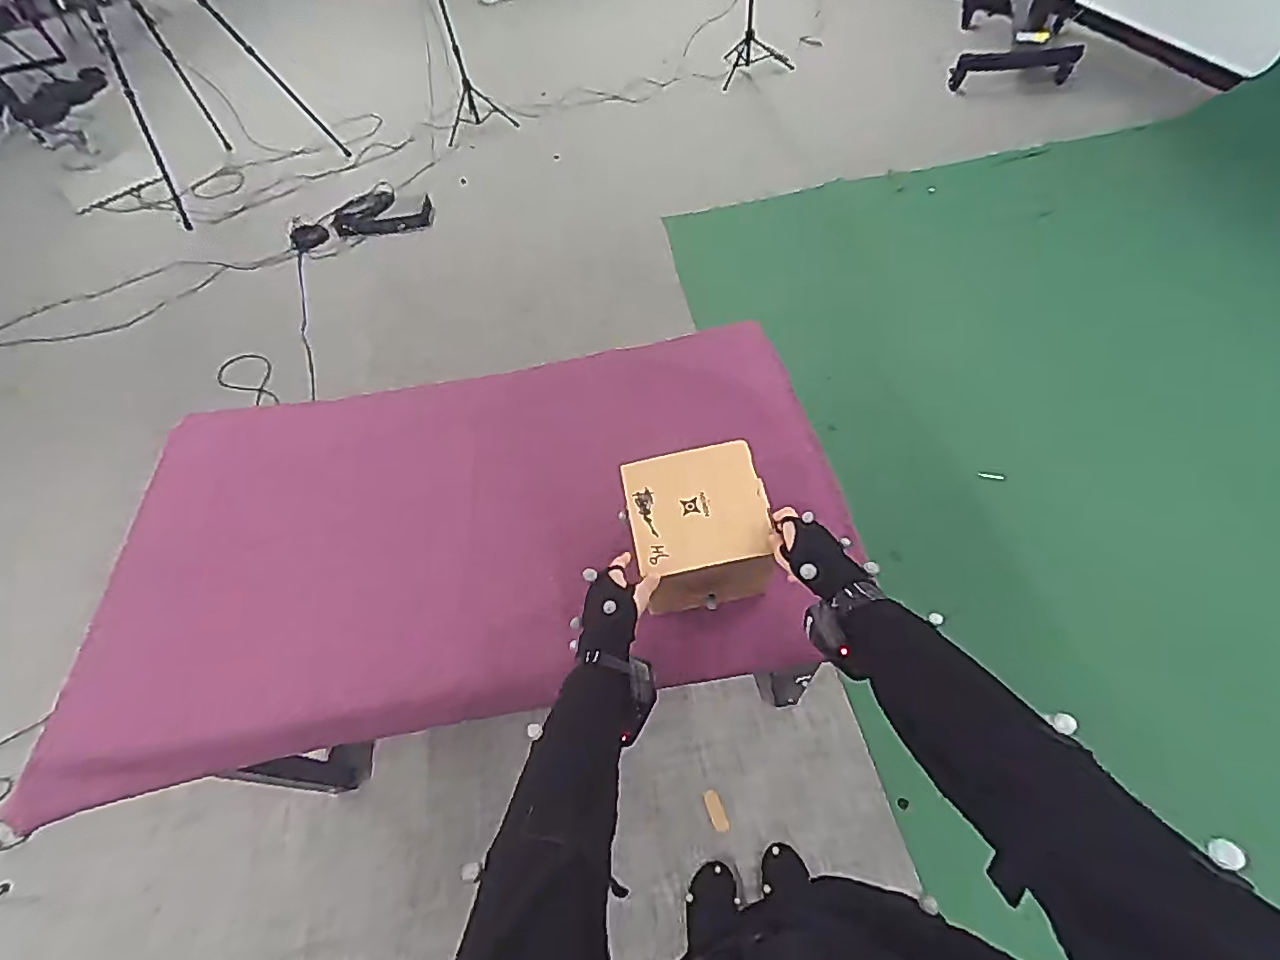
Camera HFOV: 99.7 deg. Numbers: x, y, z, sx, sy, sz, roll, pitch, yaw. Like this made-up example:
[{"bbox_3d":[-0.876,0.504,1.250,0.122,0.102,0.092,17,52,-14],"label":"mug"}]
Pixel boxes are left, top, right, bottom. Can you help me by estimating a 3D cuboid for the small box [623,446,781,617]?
[{"bbox_3d":[0.079,0.077,0.753,0.179,0.176,0.168,-11,58,0],"label":"small box"}]
